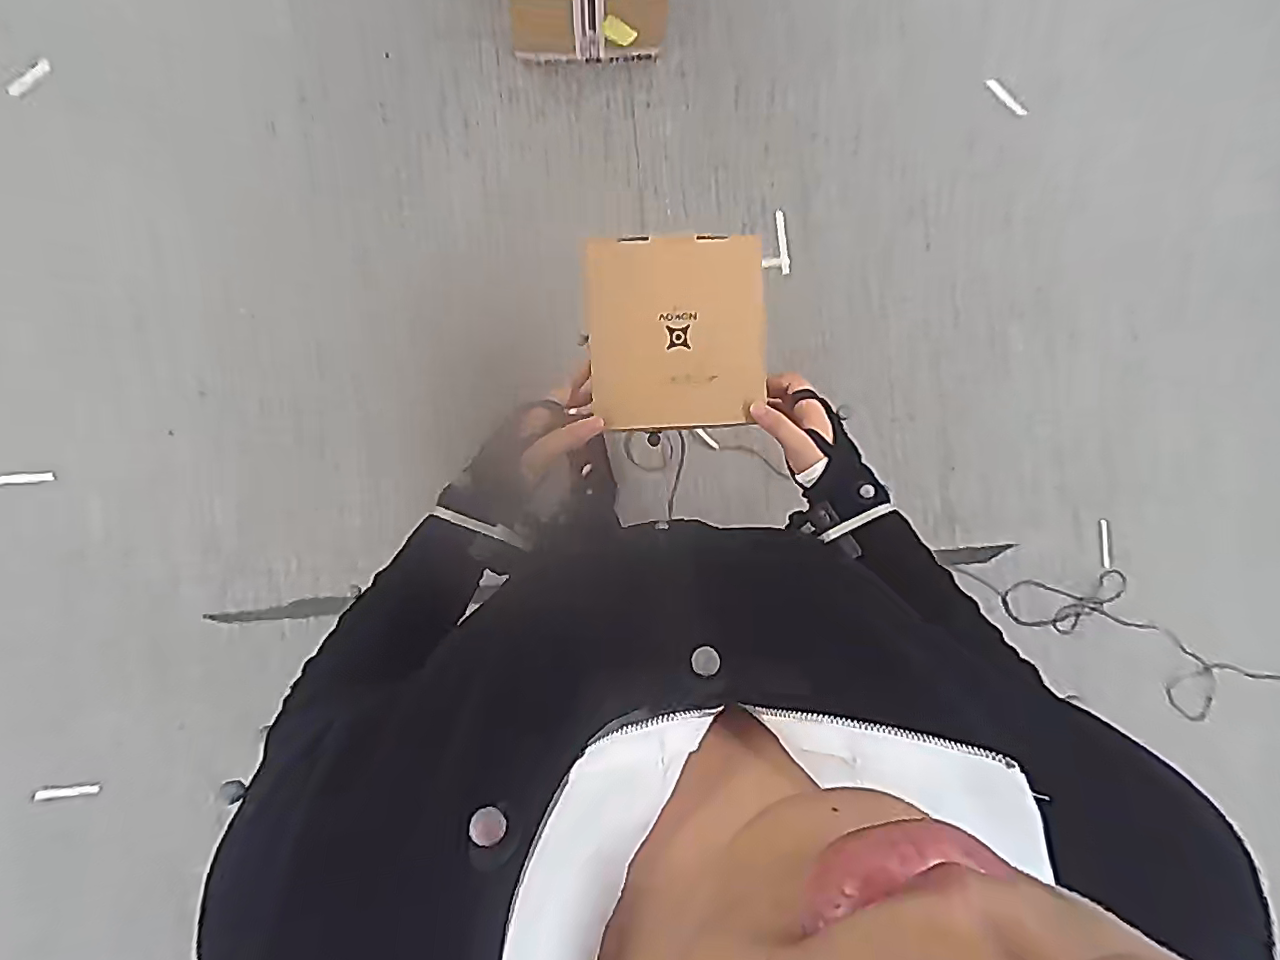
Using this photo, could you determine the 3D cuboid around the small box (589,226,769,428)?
[{"bbox_3d":[0.031,-0.150,0.580,0.168,0.176,0.179,-3,94,-4],"label":"small box"}]
